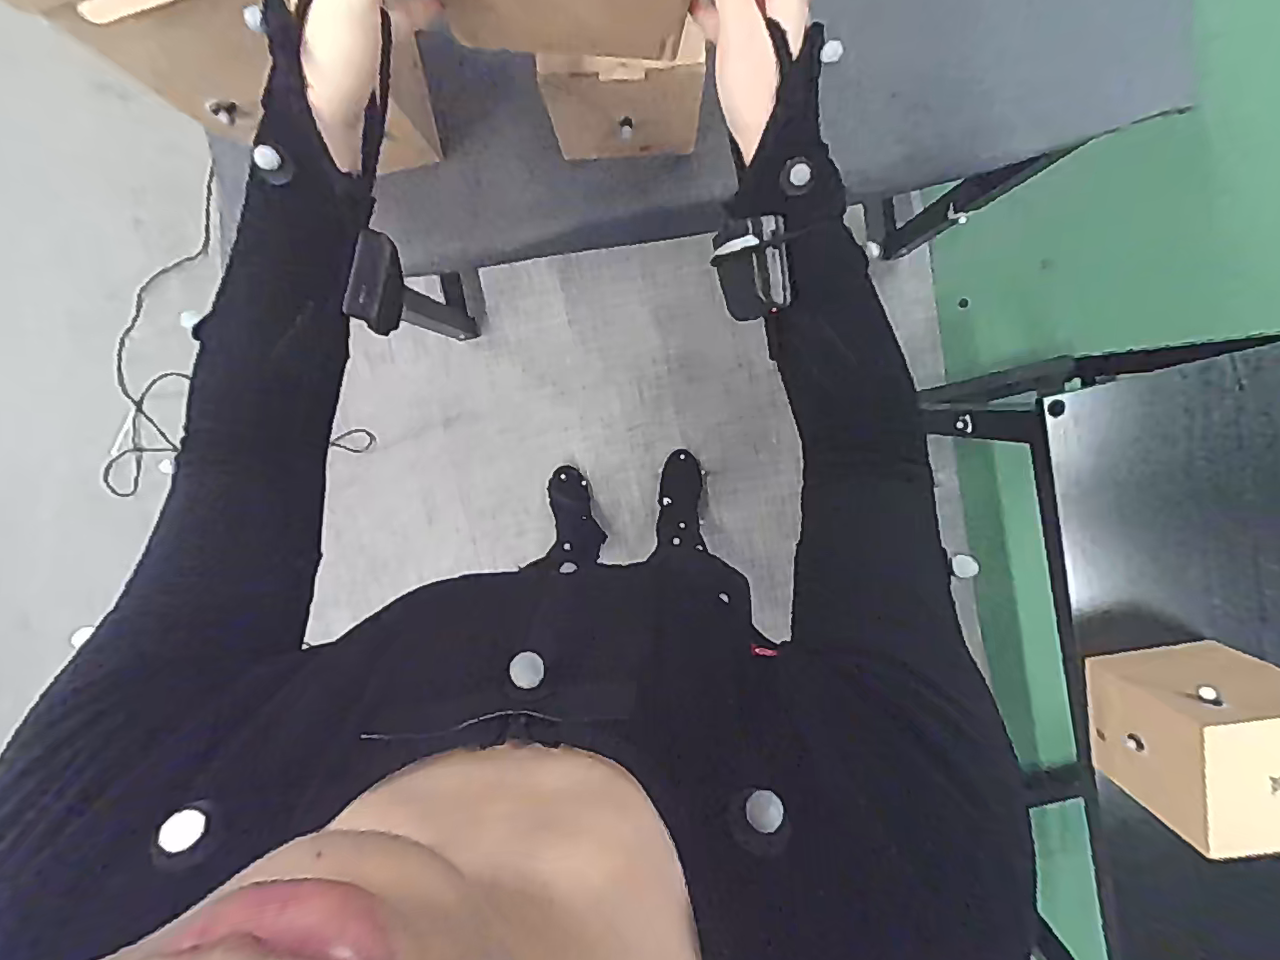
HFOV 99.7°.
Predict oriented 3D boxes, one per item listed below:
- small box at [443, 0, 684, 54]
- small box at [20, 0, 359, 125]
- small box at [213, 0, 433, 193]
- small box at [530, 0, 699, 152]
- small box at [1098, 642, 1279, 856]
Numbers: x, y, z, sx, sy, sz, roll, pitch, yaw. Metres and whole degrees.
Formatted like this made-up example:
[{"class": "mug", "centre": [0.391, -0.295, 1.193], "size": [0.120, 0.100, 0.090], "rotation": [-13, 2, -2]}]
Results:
[{"class": "small box", "centre": [-0.049, -0.401, 0.334], "size": [0.179, 0.176, 0.168], "rotation": [2, 104, -2]}, {"class": "small box", "centre": [-0.368, -0.431, 0.442], "size": [0.168, 0.176, 0.179], "rotation": [-17, 94, 3]}, {"class": "small box", "centre": [-0.353, -0.454, 0.605], "size": [0.179, 0.176, 0.168], "rotation": [-13, 95, 4]}, {"class": "small box", "centre": [-0.022, -0.482, 0.588], "size": [0.168, 0.176, 0.179], "rotation": [-2, 97, 3]}, {"class": "small box", "centre": [0.716, 0.321, 0.674], "size": [0.179, 0.176, 0.168], "rotation": [-10, 98, 3]}]
